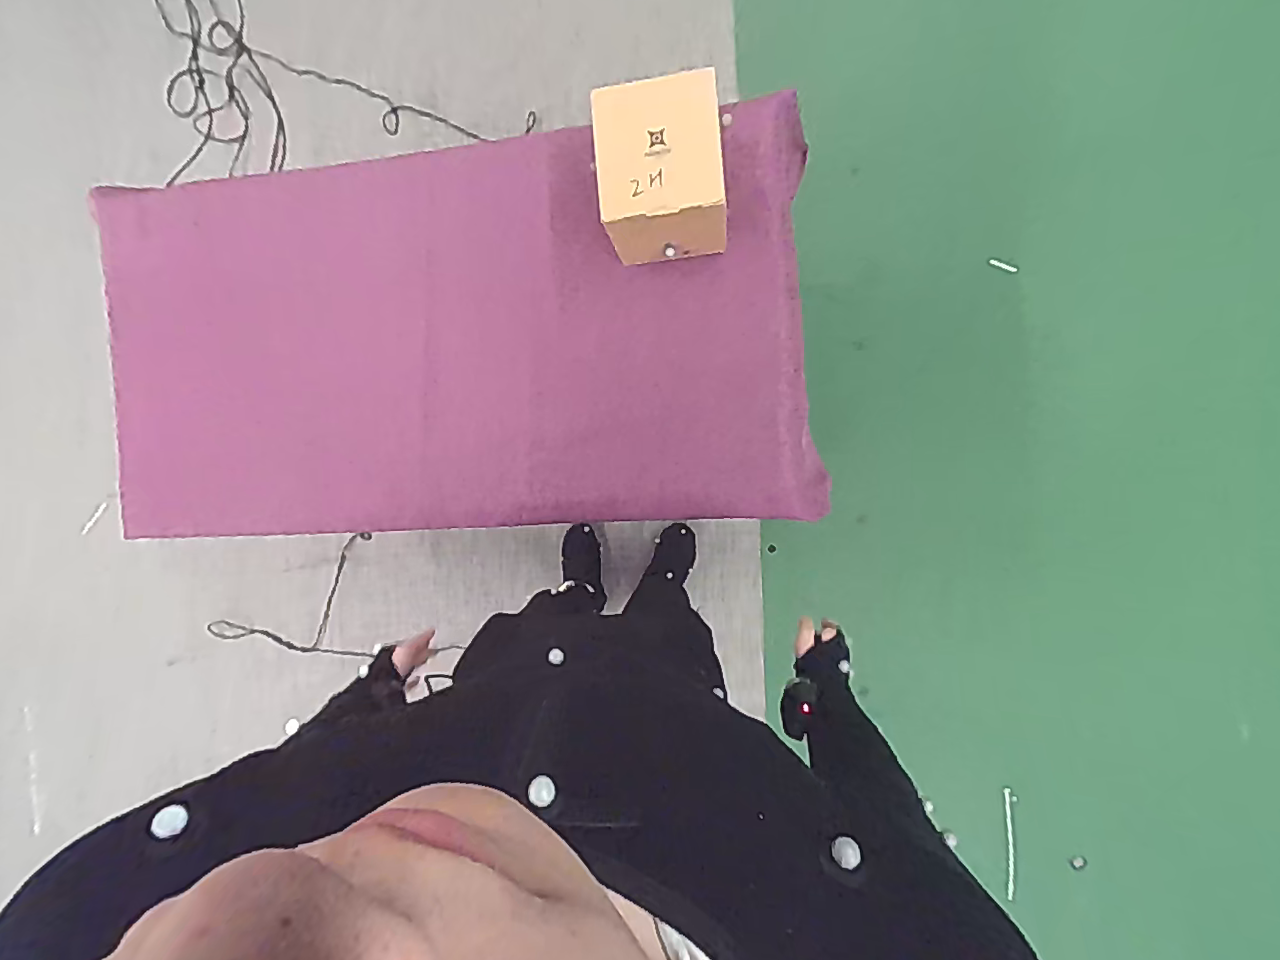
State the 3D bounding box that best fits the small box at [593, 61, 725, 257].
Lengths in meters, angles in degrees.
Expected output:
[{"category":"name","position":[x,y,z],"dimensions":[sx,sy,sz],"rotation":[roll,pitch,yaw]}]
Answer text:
[{"category":"small box","position":[0.036,-0.449,0.785],"dimensions":[0.168,0.176,0.179],"rotation":[-4,92,11]}]
